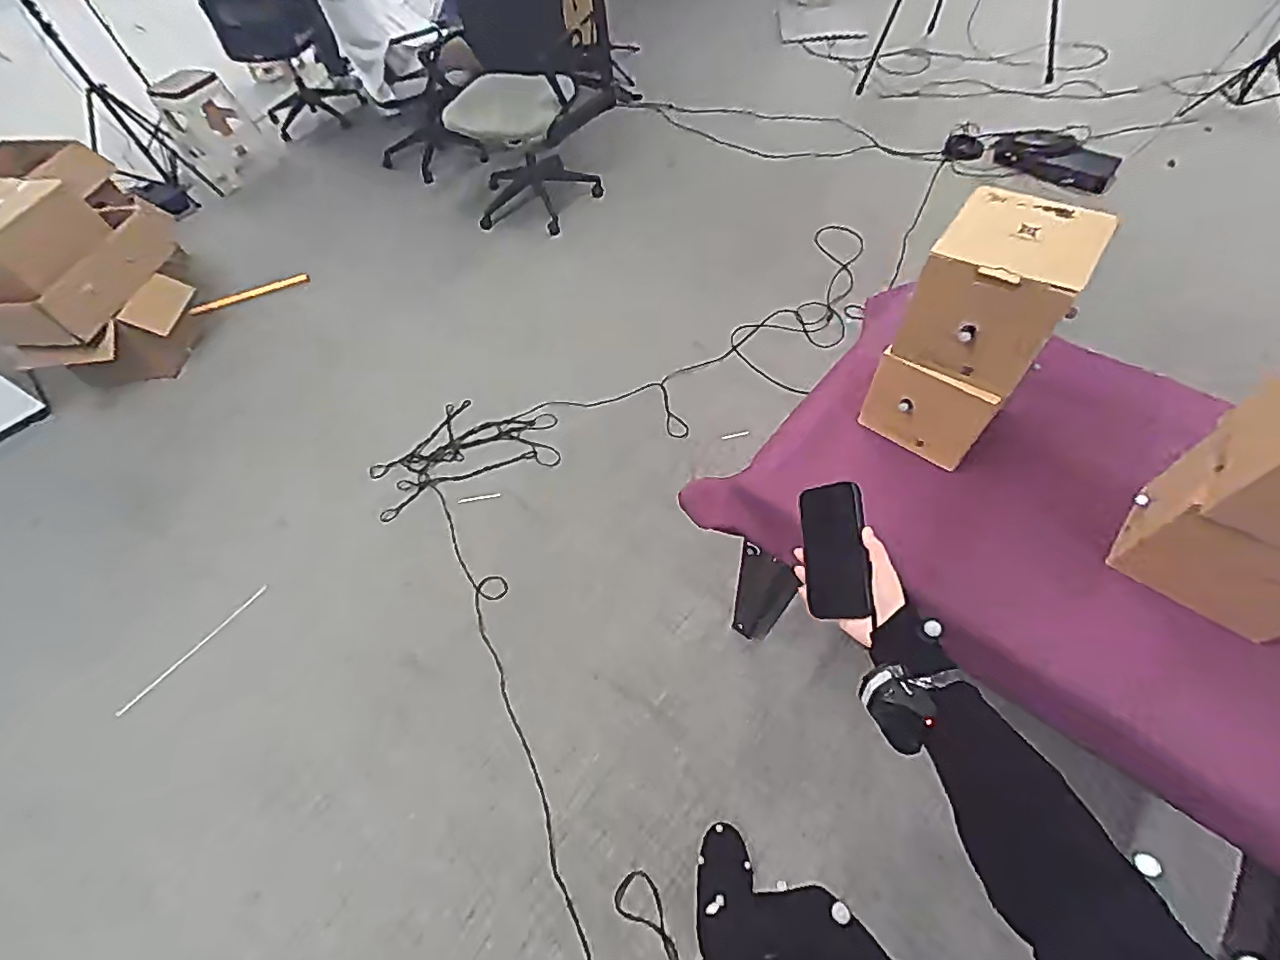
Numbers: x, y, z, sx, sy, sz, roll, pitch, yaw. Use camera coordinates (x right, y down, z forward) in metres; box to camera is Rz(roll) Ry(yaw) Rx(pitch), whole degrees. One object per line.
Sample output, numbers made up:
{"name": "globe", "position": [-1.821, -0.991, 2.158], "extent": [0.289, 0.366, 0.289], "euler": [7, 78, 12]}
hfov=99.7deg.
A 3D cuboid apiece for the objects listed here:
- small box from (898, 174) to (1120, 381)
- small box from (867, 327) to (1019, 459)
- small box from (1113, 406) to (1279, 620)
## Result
{"name": "small box", "position": [0.467, -0.261, 0.712], "extent": [0.168, 0.176, 0.179], "euler": [31, 66, 24]}
{"name": "small box", "position": [0.479, -0.165, 0.845], "extent": [0.168, 0.176, 0.179], "euler": [35, 67, 26]}
{"name": "small box", "position": [0.752, 0.049, 0.664], "extent": [0.179, 0.176, 0.168], "euler": [35, 67, 26]}
